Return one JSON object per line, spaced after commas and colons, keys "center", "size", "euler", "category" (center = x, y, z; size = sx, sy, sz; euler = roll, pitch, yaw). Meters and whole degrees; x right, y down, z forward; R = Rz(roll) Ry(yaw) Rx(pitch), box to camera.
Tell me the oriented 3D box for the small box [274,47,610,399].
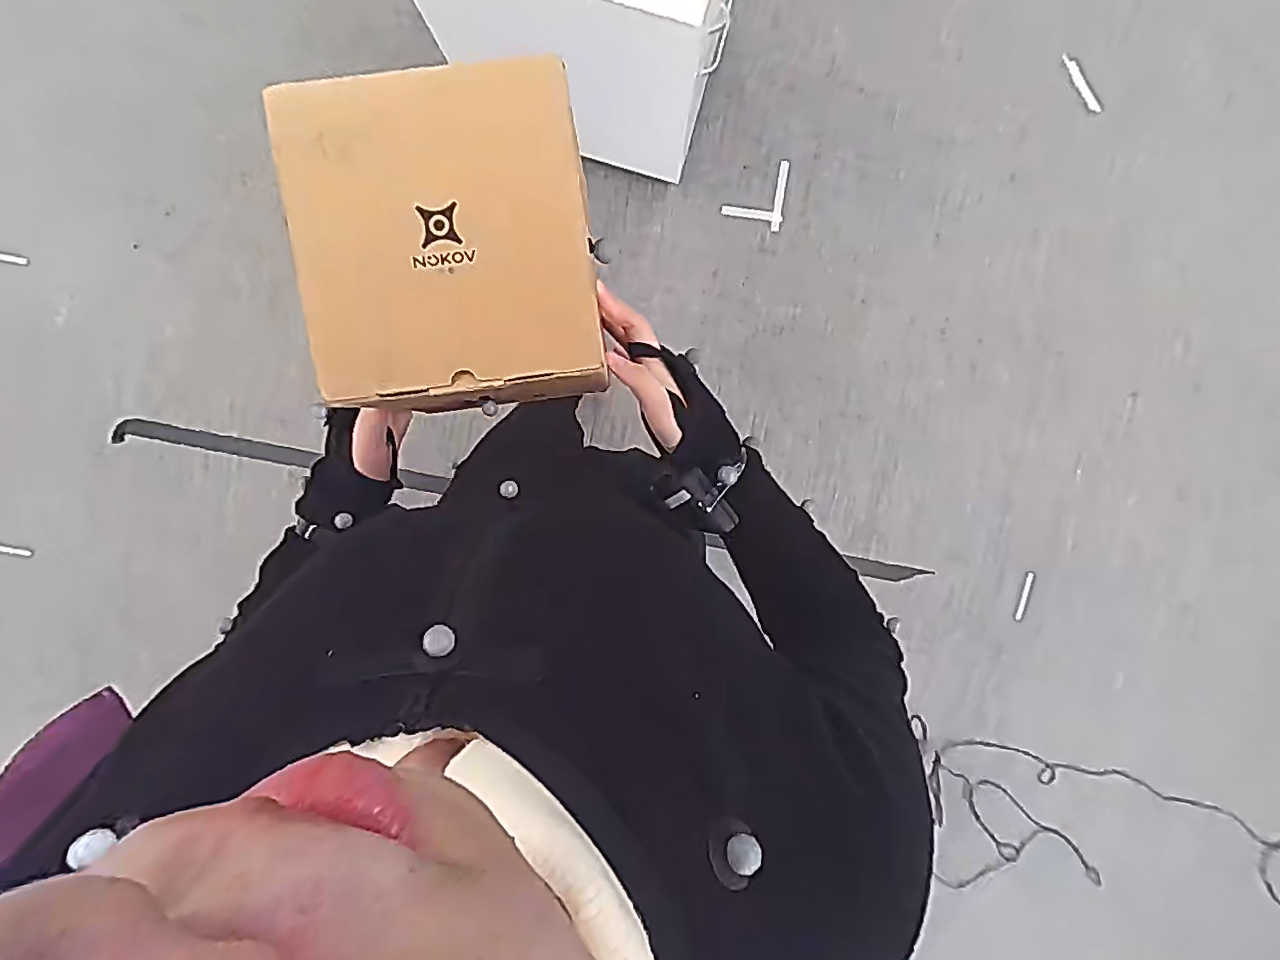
{"center": [-0.113, -0.155, 0.386], "size": [0.168, 0.176, 0.179], "euler": [-7, 98, -2], "category": "small box"}
